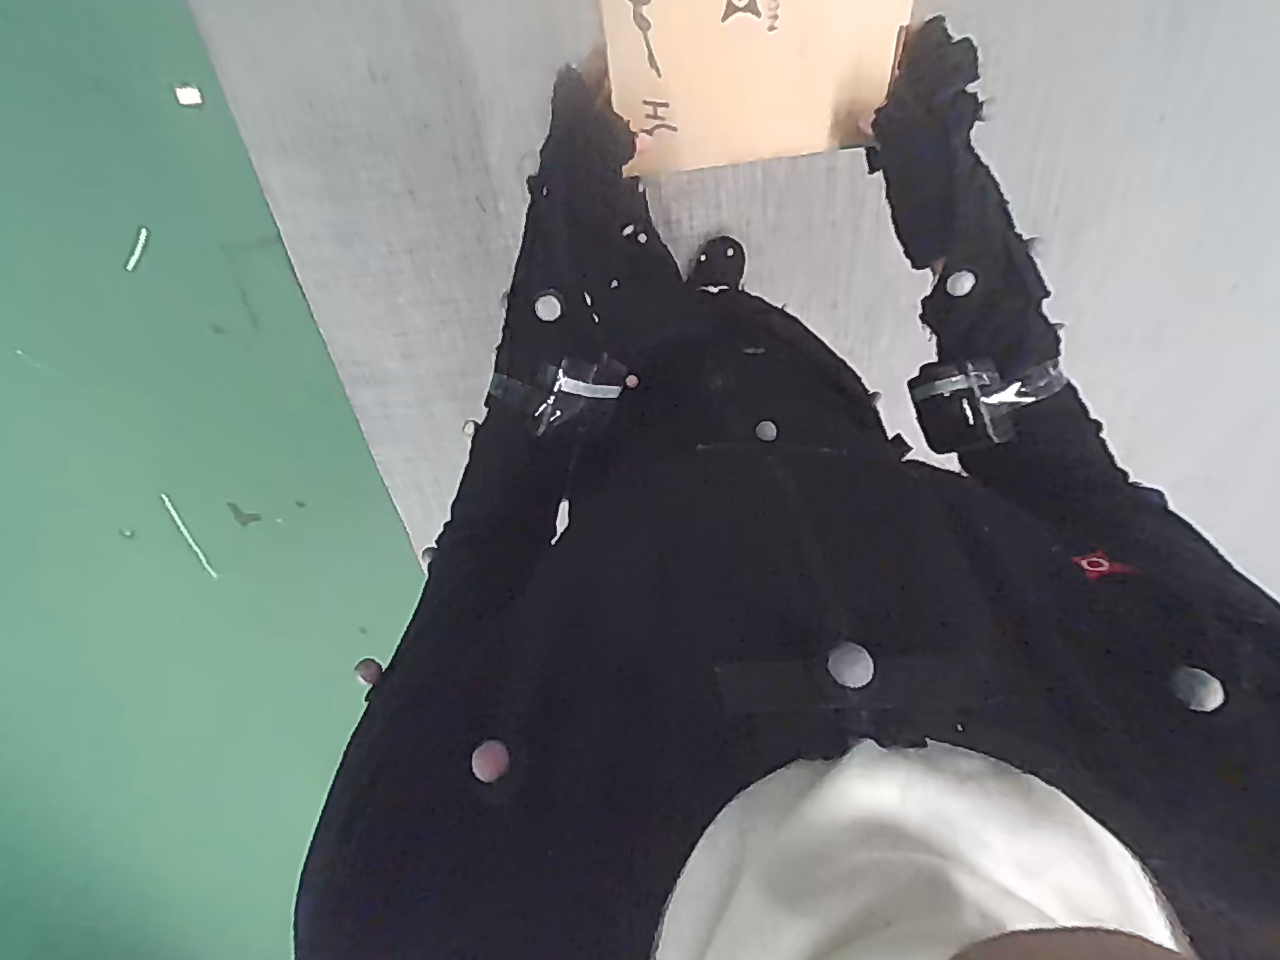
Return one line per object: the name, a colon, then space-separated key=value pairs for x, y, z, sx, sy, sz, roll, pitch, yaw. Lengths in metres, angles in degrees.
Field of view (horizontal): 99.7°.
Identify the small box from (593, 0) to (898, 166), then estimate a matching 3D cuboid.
small box: x=0.058 y=-0.331 z=0.369 sx=0.179 sy=0.176 sz=0.168 roll=-7 pitch=129 yaw=0
